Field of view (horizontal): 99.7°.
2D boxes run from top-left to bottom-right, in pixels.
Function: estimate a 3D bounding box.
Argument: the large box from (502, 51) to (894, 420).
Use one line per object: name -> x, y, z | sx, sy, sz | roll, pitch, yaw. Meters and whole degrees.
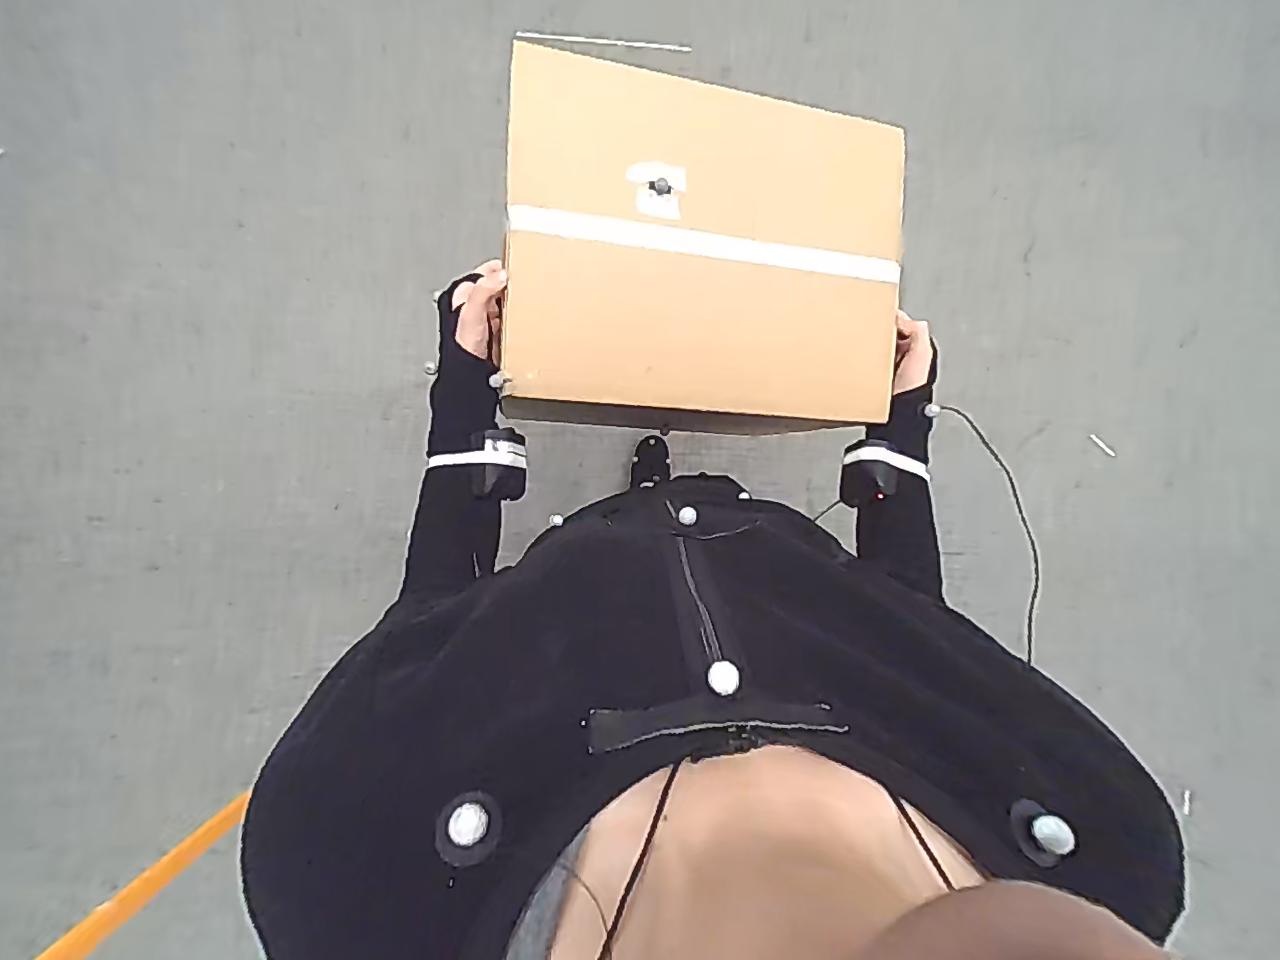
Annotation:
large box -> 0.040, -0.241, 0.682 | 0.408, 0.320, 0.320 | 2, 92, -13
